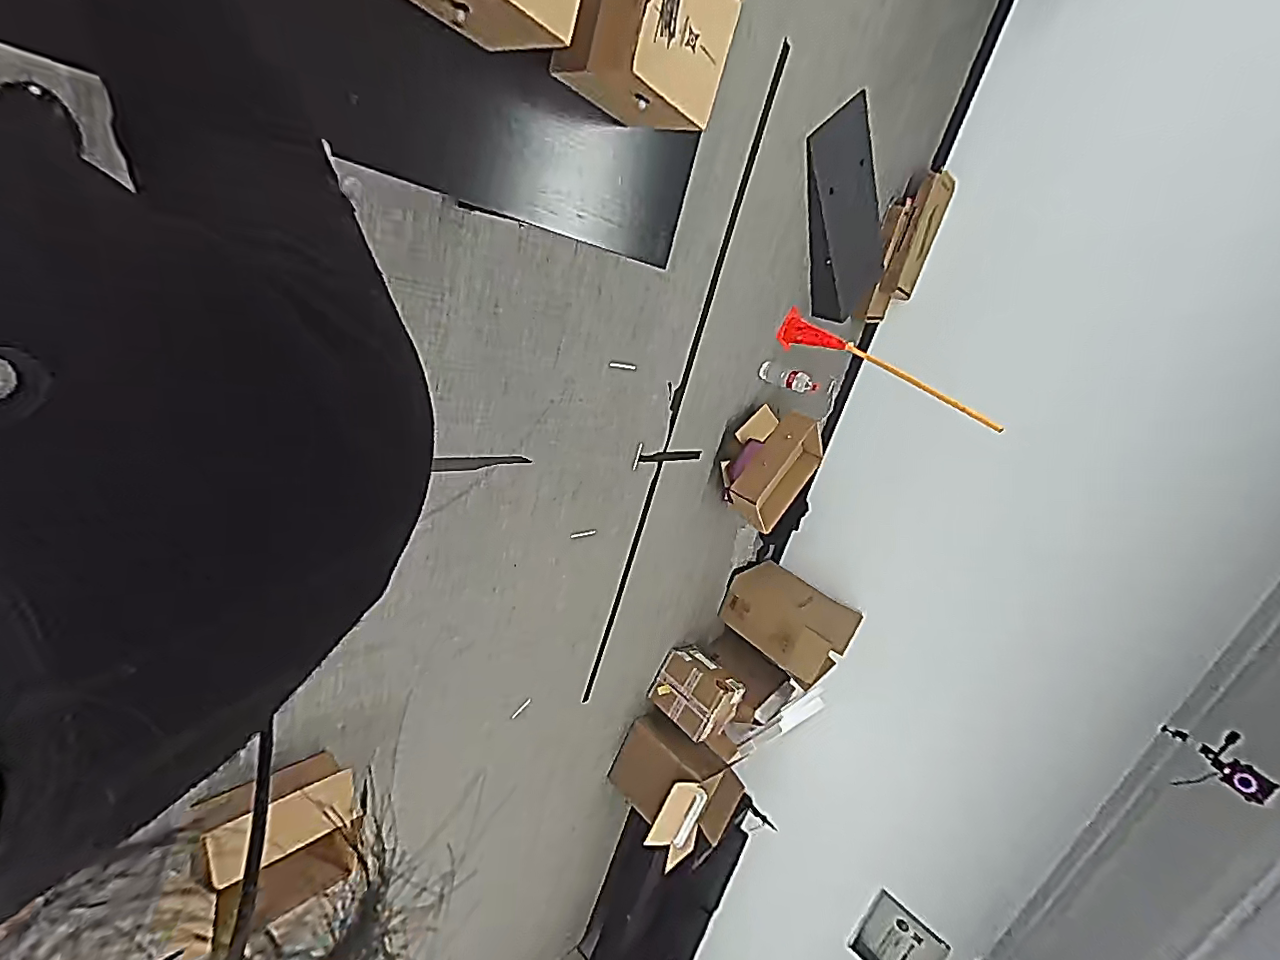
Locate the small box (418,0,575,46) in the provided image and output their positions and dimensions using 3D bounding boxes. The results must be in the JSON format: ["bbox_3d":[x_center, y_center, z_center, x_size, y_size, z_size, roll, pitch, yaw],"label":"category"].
[{"bbox_3d":[-0.172,-0.604,0.578,0.168,0.176,0.179,-5,118,-50],"label":"small box"}]

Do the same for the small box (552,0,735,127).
[{"bbox_3d":[0.001,-0.632,0.772,0.179,0.176,0.168,-5,118,-50],"label":"small box"}]
